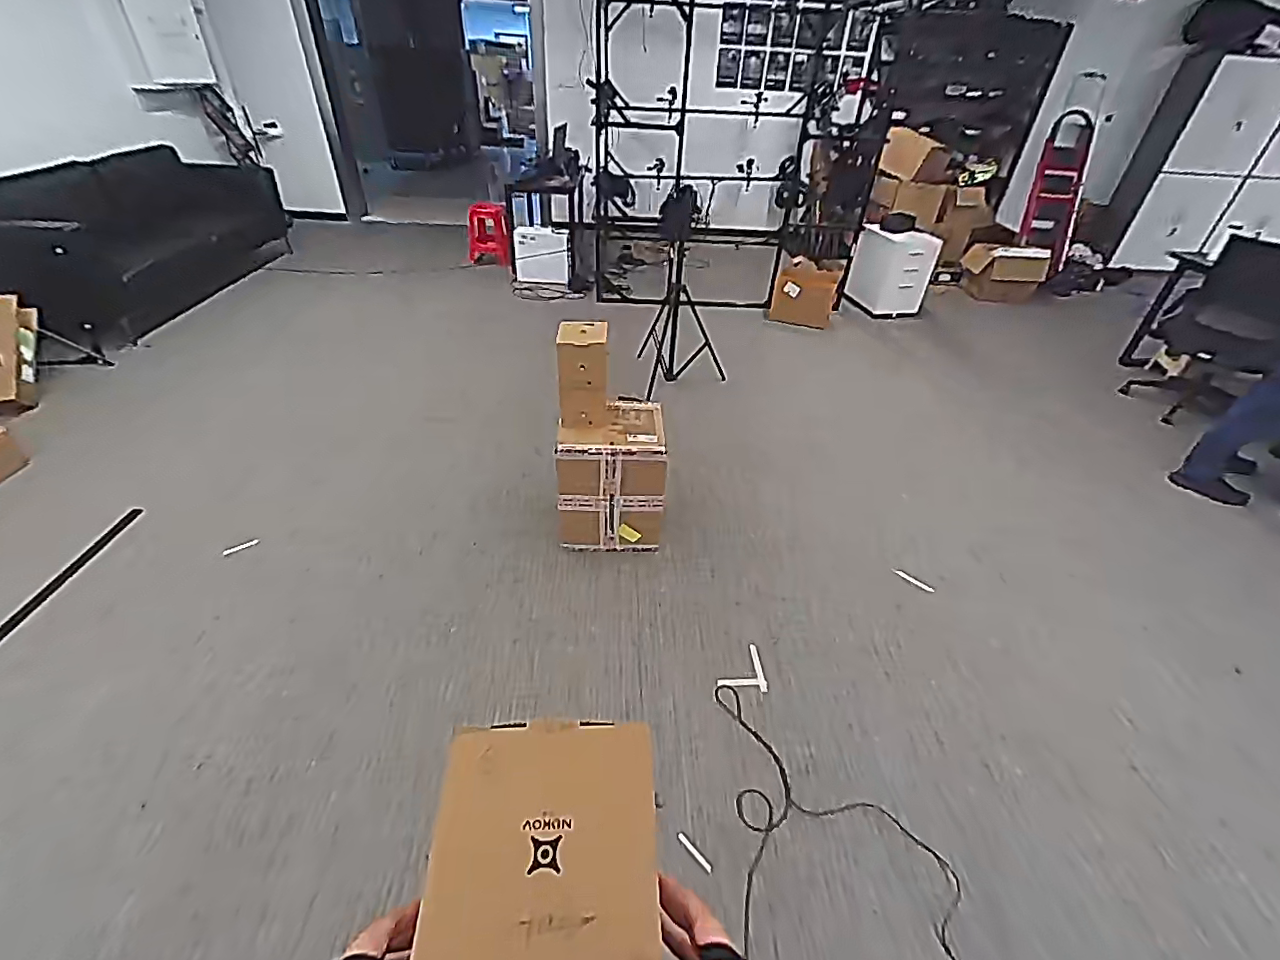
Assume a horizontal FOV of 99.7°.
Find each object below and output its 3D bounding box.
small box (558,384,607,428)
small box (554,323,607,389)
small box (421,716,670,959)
[{"bbox_3d":[-0.208,-0.307,1.989,0.168,0.176,0.179,-2,39,-3],"label":"small box"},{"bbox_3d":[-0.200,-0.429,1.878,0.168,0.176,0.179,-1,40,-2],"label":"small box"},{"bbox_3d":[-0.068,0.319,0.458,0.168,0.176,0.179,0,48,-3],"label":"small box"}]
